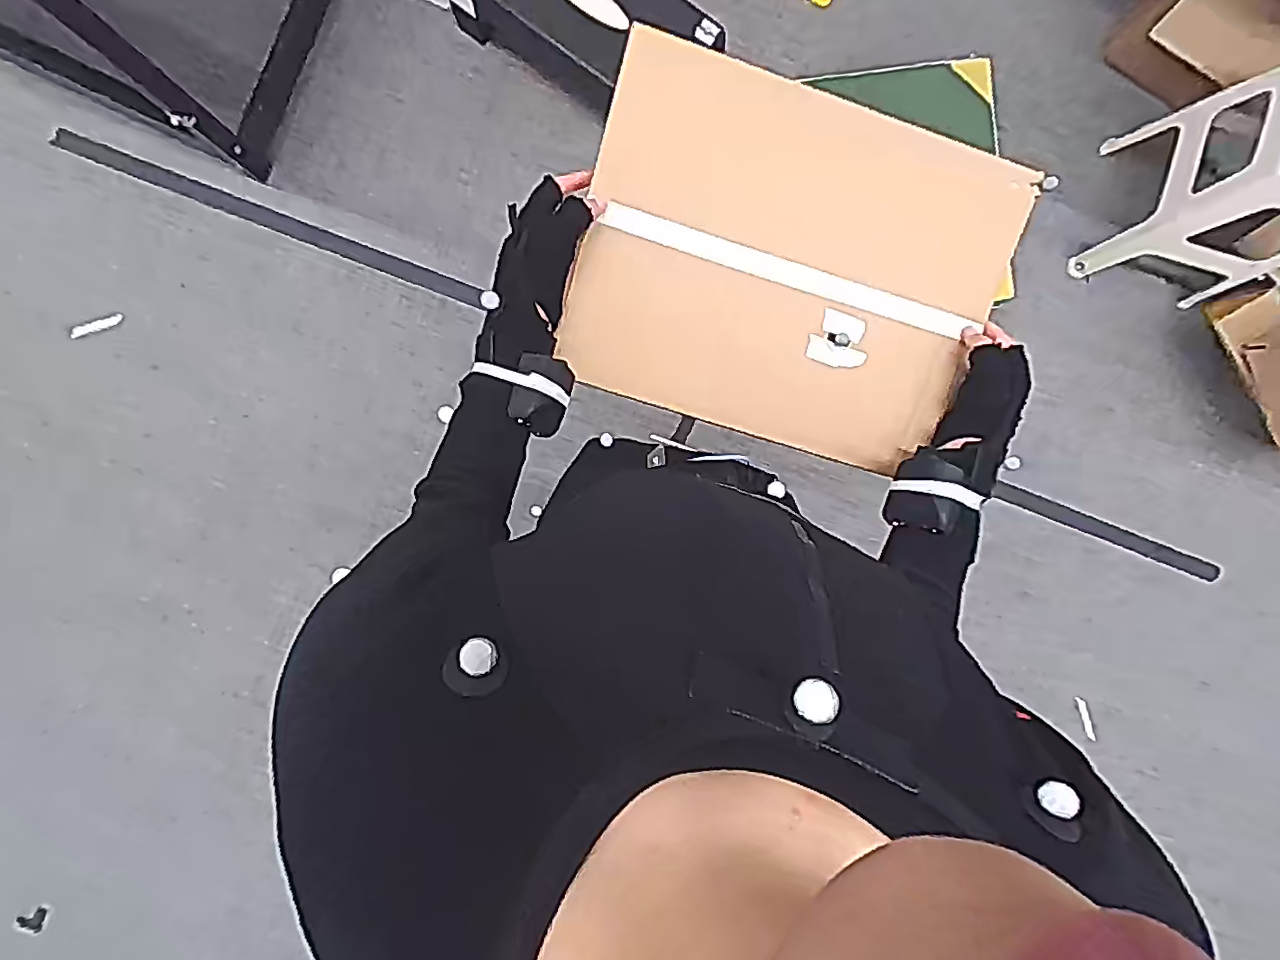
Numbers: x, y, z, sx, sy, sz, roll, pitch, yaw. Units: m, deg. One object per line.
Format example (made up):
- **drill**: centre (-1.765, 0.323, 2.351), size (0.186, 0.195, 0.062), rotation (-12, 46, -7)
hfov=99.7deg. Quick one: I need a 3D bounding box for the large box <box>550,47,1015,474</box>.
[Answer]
- **large box**: centre (0.130, -0.229, 0.681), size (0.408, 0.320, 0.320), rotation (17, 101, -6)
